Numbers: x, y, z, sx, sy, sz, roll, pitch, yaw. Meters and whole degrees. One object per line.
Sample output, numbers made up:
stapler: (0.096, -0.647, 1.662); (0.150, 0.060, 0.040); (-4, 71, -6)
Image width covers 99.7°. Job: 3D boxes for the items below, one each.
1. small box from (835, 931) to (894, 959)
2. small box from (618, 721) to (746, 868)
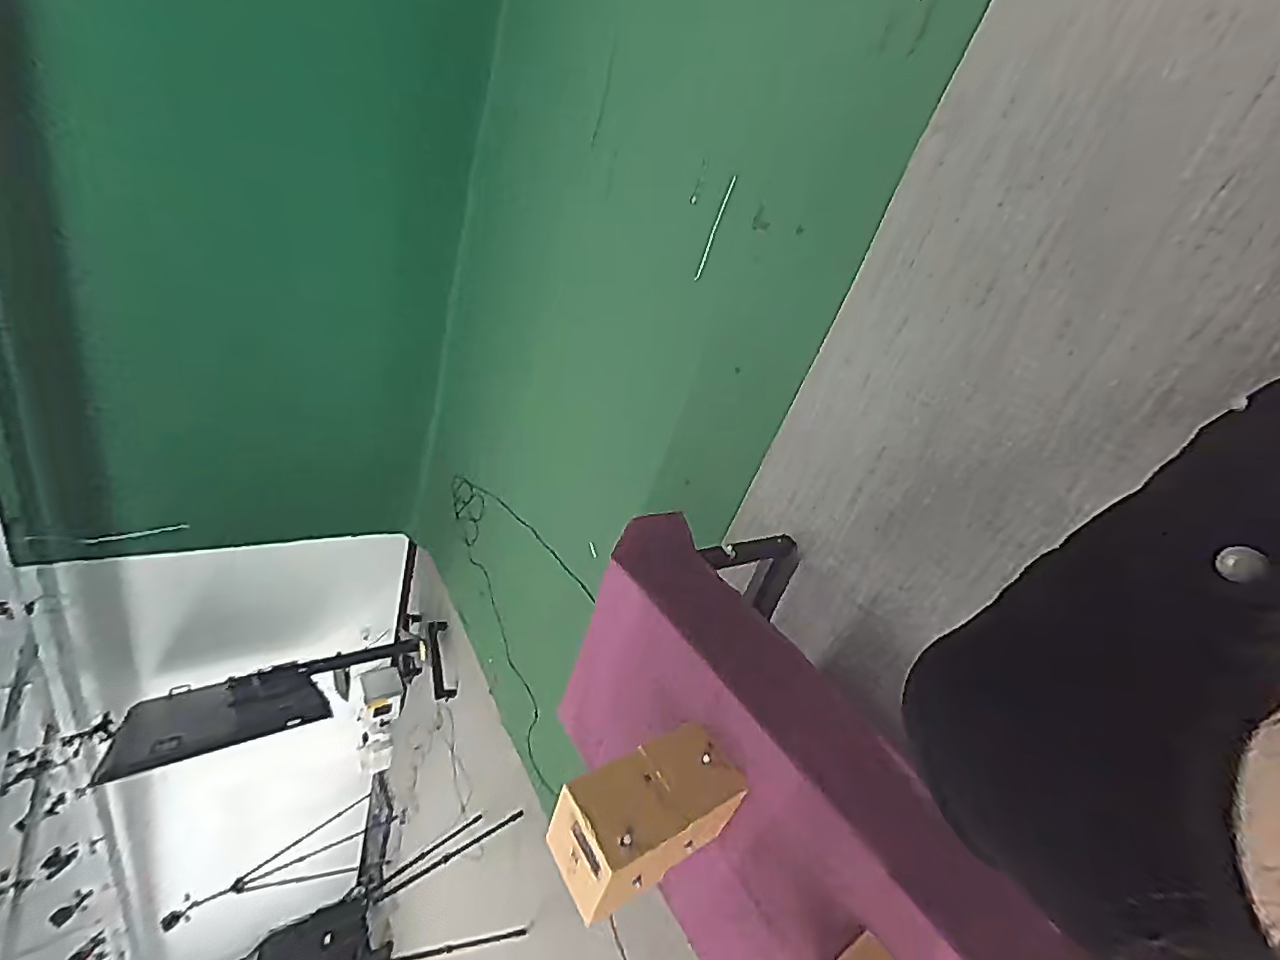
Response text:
small box: (0.329, 0.836, 0.806); (0.168, 0.176, 0.179); (42, 125, 42)
small box: (0.085, 0.630, 1.099); (0.168, 0.176, 0.179); (44, 125, 40)
